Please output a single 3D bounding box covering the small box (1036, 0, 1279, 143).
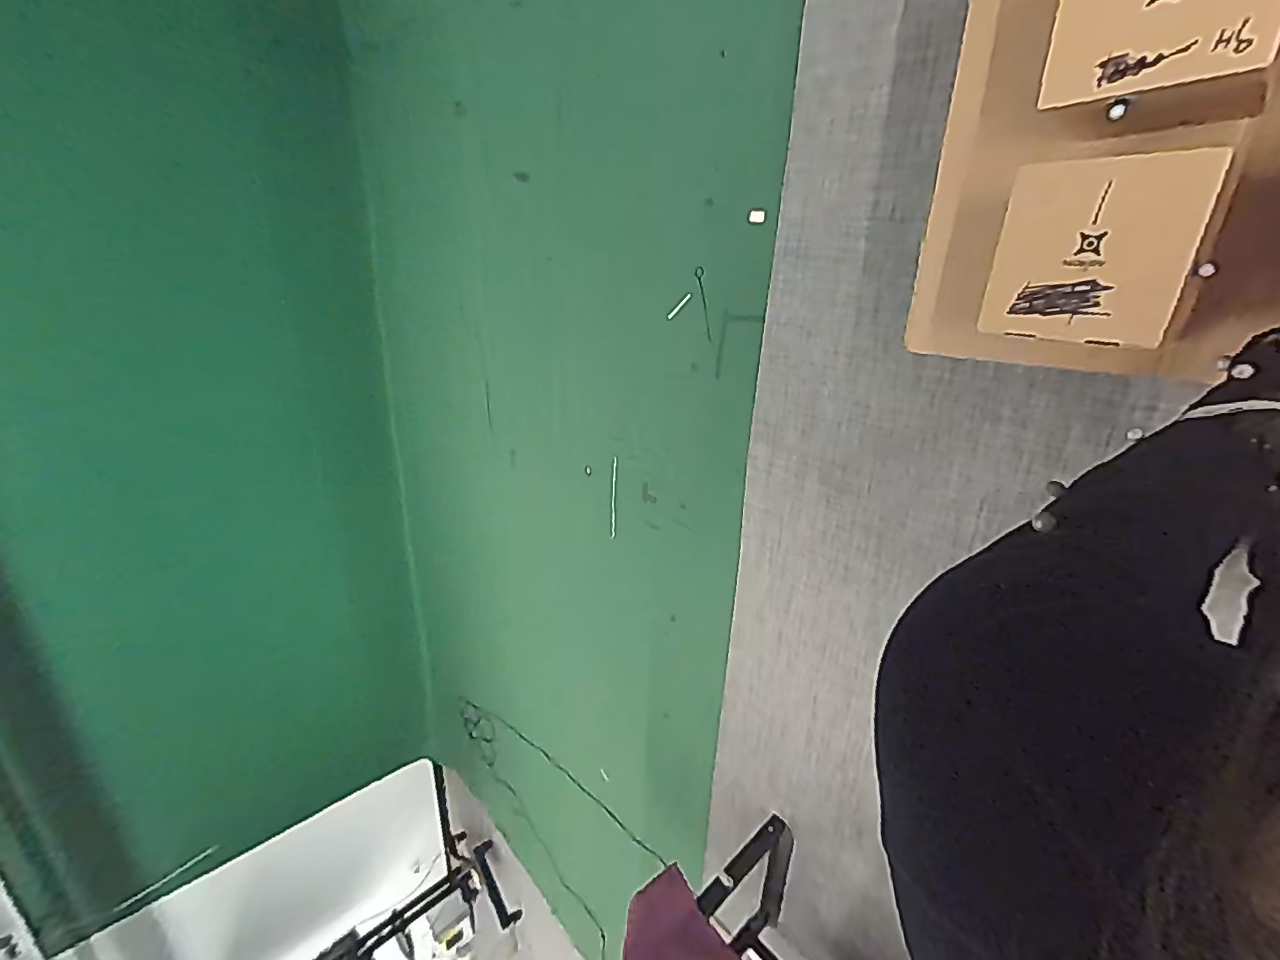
[{"bbox_3d":[0.527,-0.460,0.529,0.168,0.176,0.179,21,116,45],"label":"small box"}]

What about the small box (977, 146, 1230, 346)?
[{"bbox_3d":[0.517,-0.252,0.608,0.168,0.176,0.179,24,118,43],"label":"small box"}]
